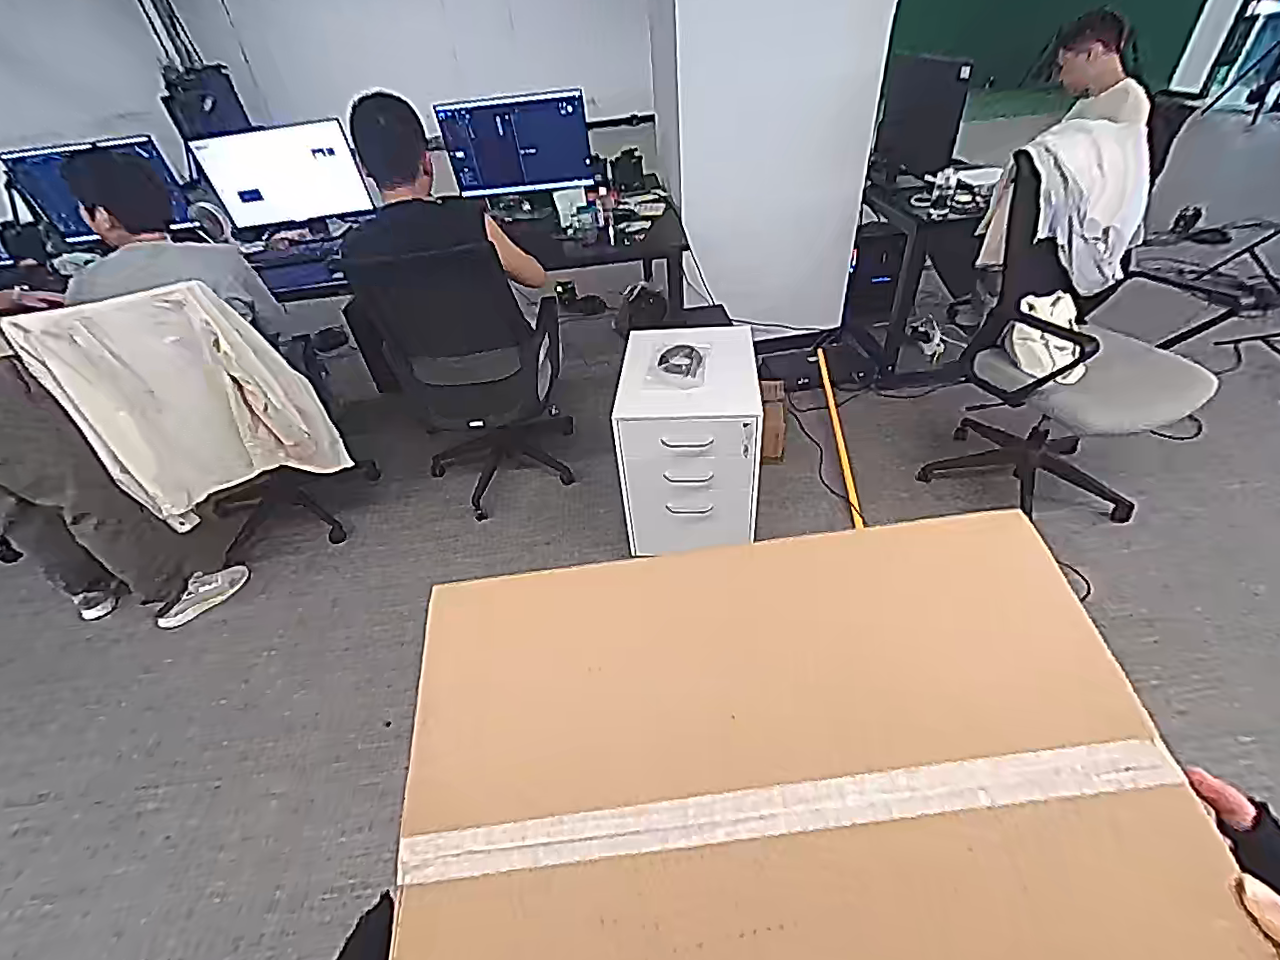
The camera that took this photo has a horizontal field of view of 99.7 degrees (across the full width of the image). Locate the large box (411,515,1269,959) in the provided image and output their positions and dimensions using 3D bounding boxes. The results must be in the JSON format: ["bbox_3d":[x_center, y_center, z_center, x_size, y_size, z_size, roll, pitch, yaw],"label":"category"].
[{"bbox_3d":[0.088,0.261,0.414,0.408,0.320,0.320,-8,56,1],"label":"large box"}]
